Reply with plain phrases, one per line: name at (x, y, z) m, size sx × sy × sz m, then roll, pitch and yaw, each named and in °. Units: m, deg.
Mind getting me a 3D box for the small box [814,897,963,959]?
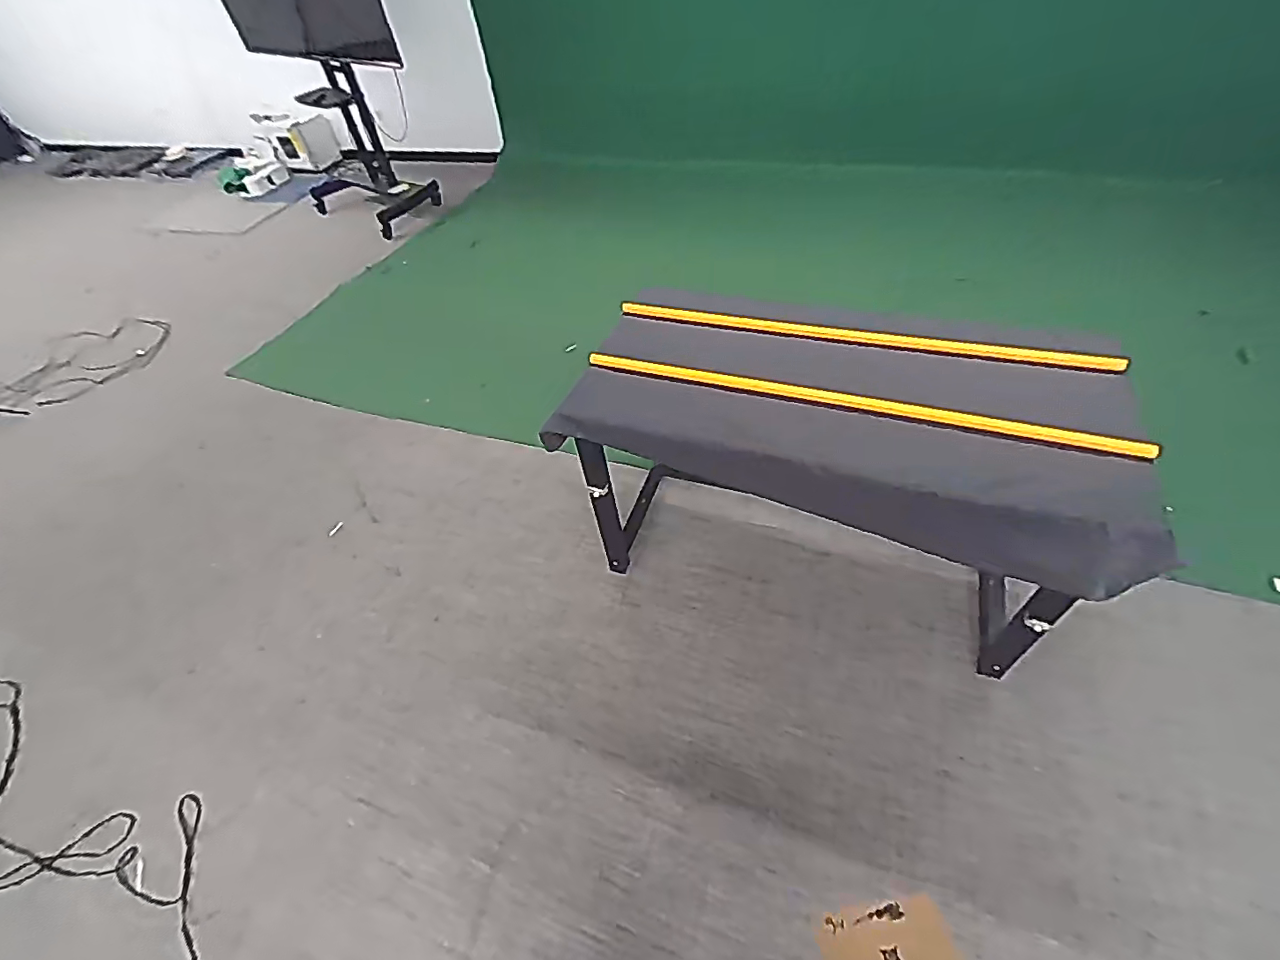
small box at (0.337, 0.676, 0.662) m, size 0.168 × 0.176 × 0.179 m, roll -18°, pitch 5°, yaw 5°
